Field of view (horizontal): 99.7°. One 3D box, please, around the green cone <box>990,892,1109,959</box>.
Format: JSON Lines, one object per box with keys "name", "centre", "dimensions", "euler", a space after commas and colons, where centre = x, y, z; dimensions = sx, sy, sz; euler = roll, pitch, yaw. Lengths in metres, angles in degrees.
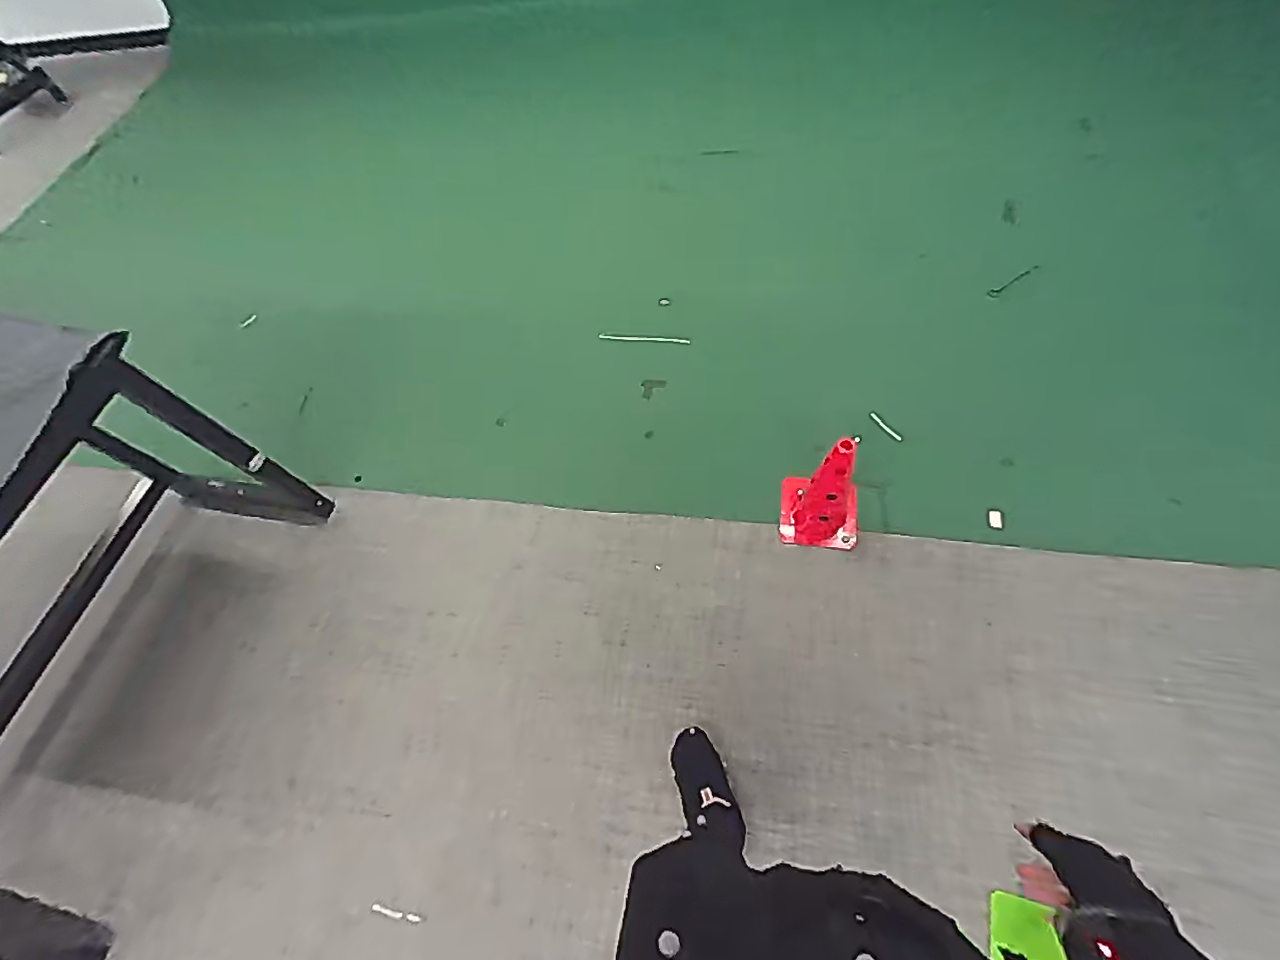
{"name": "green cone", "centre": [0.740, 0.829, 0.853], "dimensions": [0.200, 0.368, 0.202], "euler": [10, 64, 13]}
